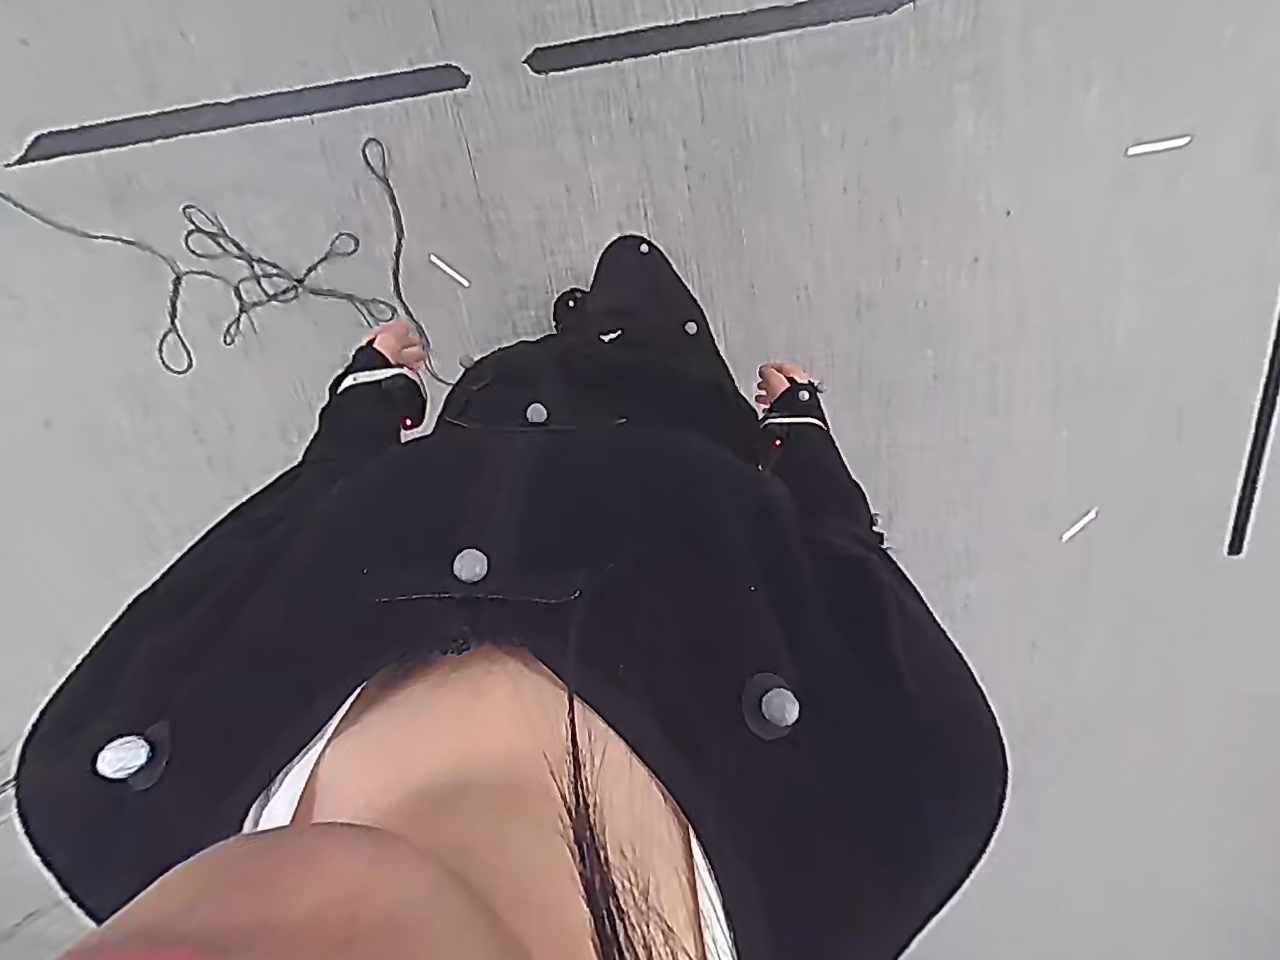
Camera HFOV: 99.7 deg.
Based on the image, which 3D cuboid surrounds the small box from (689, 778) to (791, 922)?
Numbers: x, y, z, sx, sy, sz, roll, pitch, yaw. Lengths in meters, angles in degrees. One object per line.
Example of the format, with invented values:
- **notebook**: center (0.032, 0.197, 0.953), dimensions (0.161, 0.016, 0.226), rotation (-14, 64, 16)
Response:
- **small box**: center (0.192, 0.719, 1.071), dimensions (0.168, 0.176, 0.179), rotation (-6, 110, -1)
